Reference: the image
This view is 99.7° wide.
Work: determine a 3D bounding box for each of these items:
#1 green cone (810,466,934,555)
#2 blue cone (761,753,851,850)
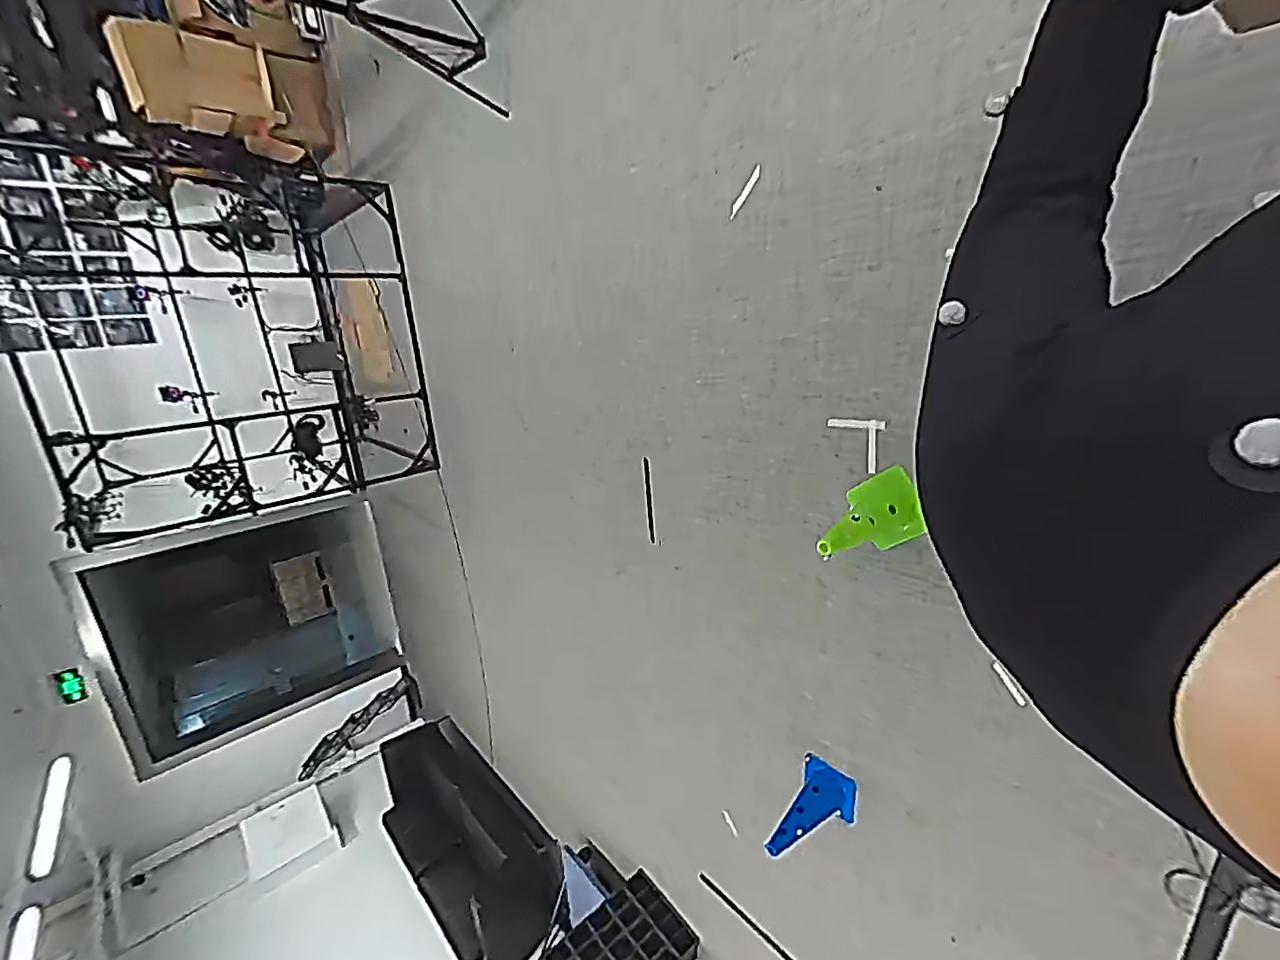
[{"bbox_3d":[0.578,0.120,1.445,0.202,0.368,0.200,-43,69,50],"label":"green cone"},{"bbox_3d":[0.560,1.161,1.887,0.192,0.380,0.193,20,118,47],"label":"blue cone"}]
